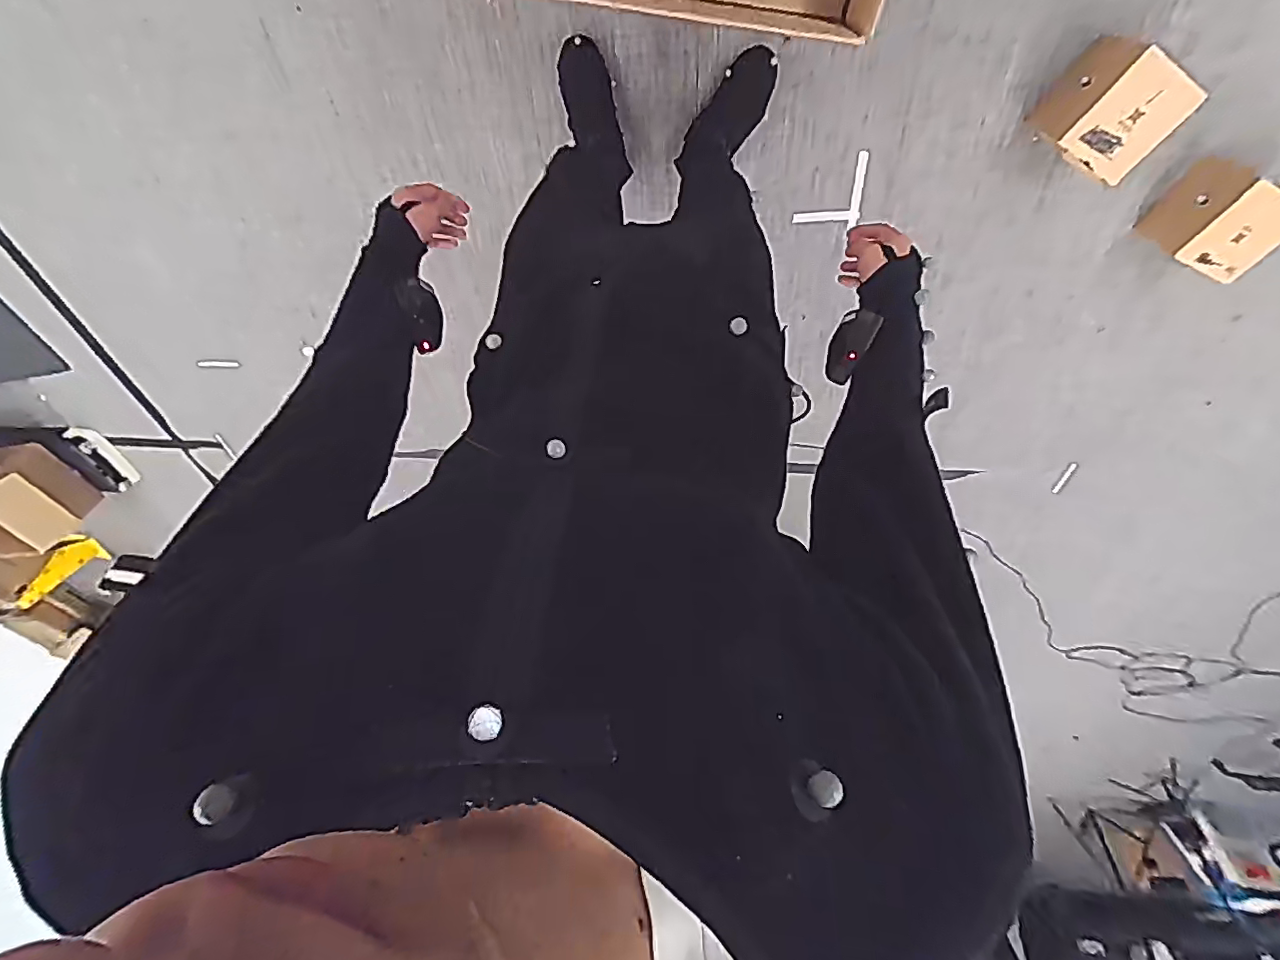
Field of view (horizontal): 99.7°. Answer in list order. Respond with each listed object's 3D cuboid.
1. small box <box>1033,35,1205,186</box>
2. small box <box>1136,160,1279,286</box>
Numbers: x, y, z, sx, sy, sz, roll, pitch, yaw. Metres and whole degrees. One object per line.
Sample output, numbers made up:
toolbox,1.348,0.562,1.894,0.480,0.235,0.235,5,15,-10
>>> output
small box,0.928,-0.734,1.073,0.168,0.176,0.179,24,133,-16
small box,1.269,-0.569,1.189,0.168,0.176,0.179,20,133,-11
